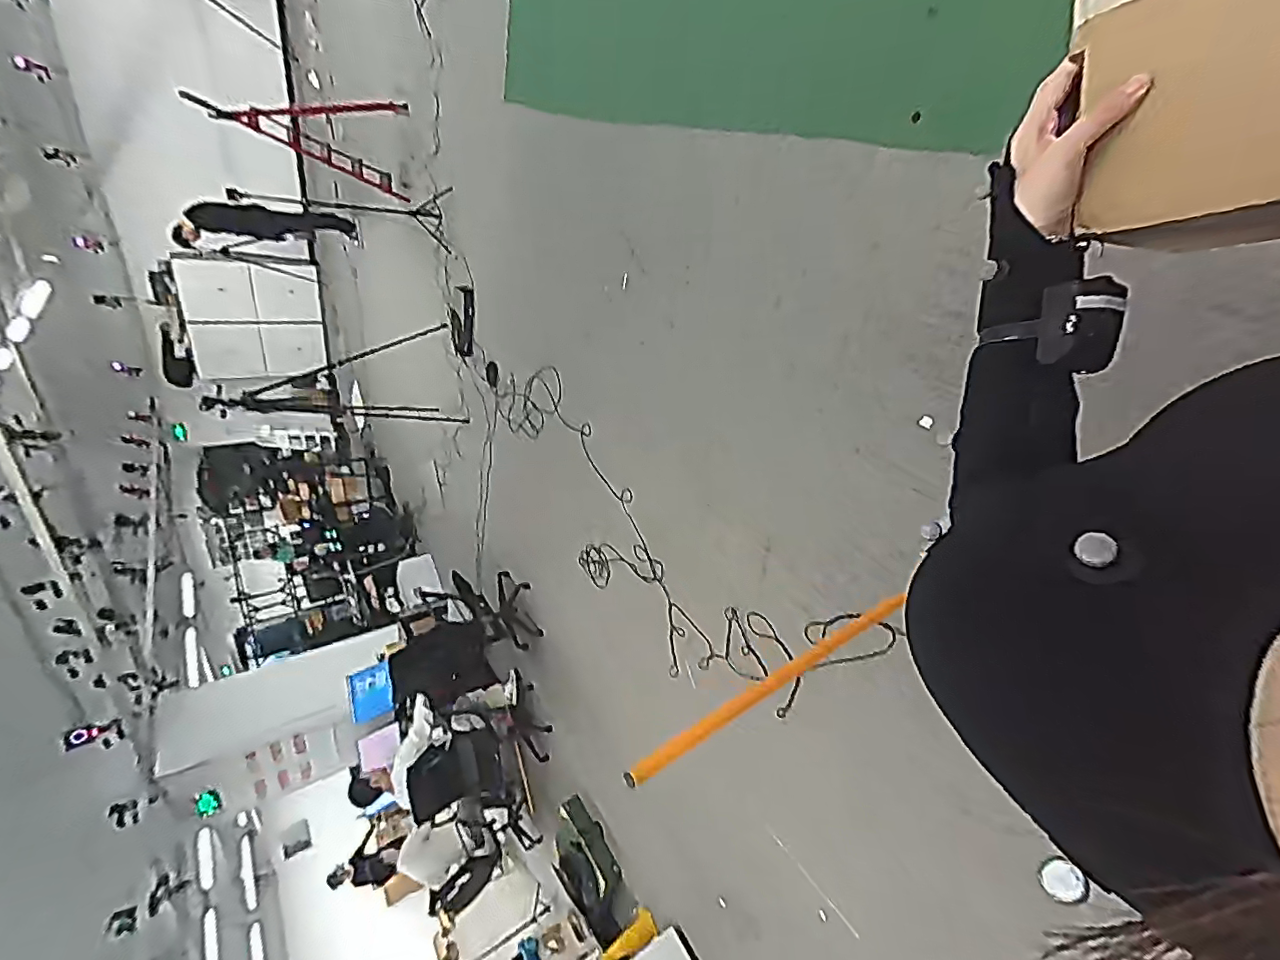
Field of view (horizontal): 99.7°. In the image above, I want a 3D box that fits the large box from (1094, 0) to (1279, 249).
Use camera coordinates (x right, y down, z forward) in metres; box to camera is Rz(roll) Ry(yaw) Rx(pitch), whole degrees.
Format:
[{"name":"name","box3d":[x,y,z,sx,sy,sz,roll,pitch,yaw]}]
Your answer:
[{"name":"large box","box3d":[0.565,-0.351,0.317,0.408,0.320,0.320,9,109,51]}]
